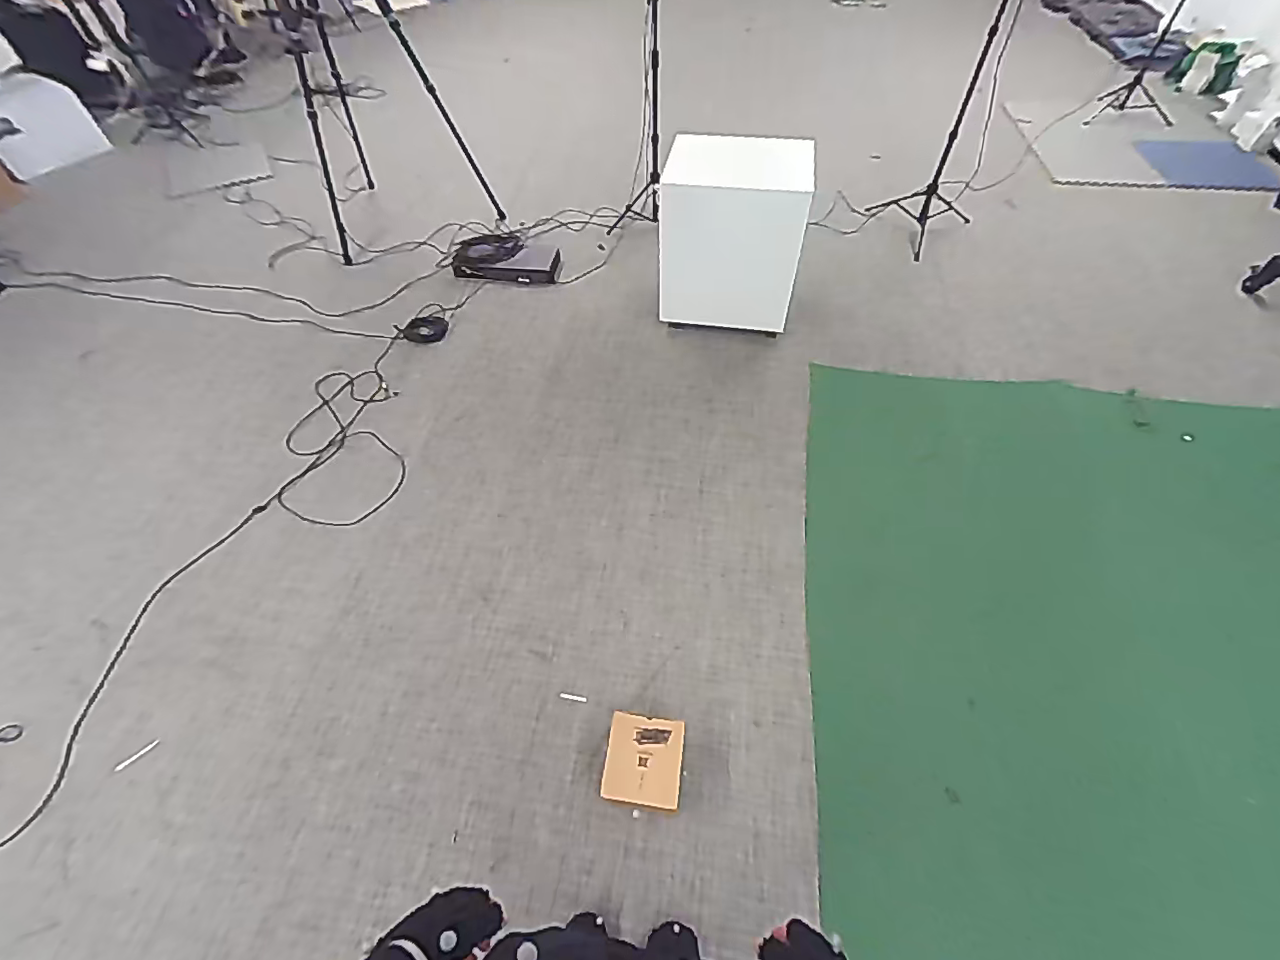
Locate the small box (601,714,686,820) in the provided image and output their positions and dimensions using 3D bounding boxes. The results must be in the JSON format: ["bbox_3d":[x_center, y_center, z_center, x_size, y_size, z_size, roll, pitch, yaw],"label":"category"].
[{"bbox_3d":[0.011,0.655,1.232,0.168,0.176,0.179,6,55,6],"label":"small box"}]
